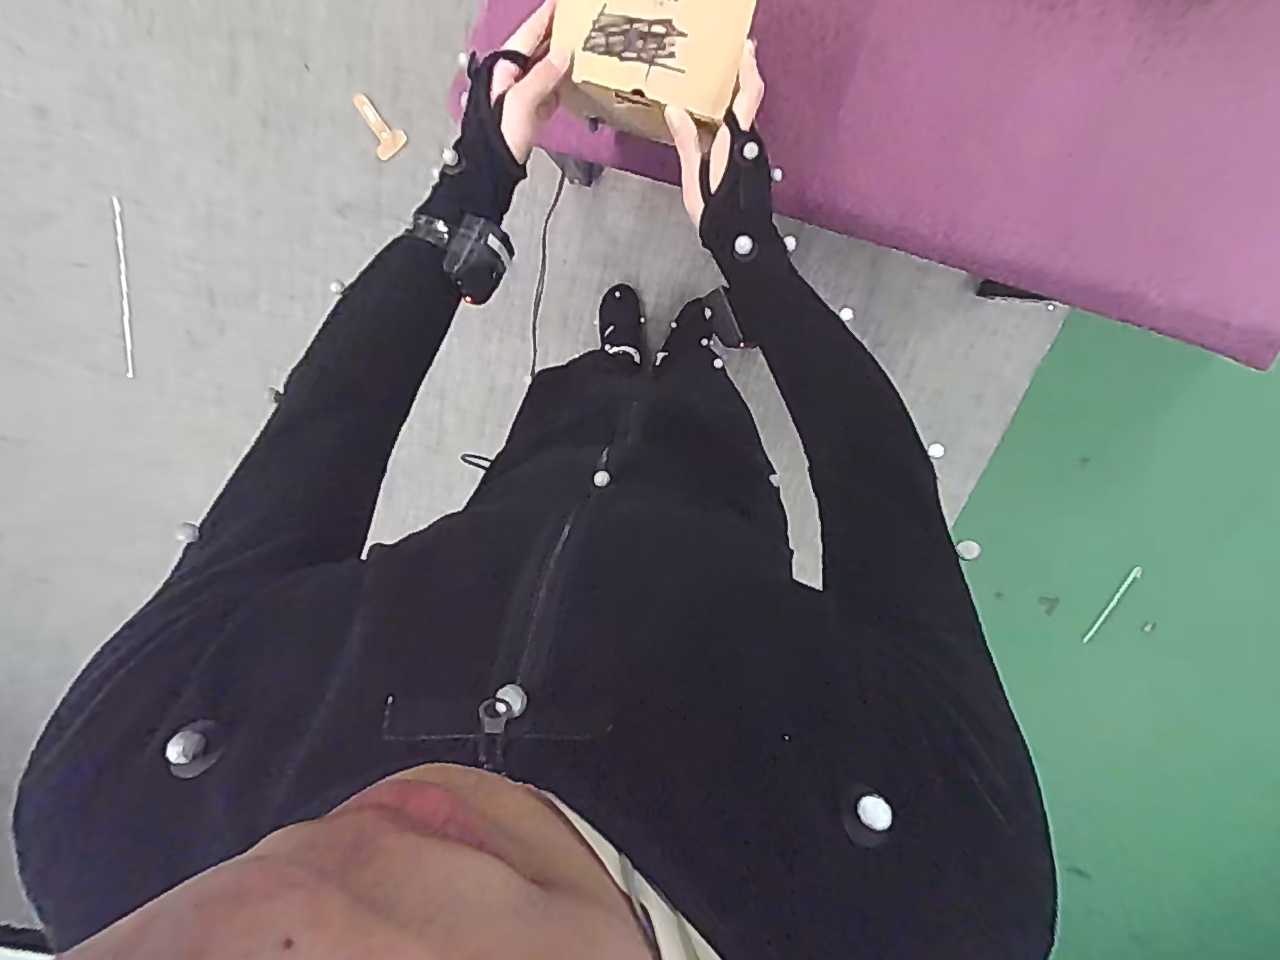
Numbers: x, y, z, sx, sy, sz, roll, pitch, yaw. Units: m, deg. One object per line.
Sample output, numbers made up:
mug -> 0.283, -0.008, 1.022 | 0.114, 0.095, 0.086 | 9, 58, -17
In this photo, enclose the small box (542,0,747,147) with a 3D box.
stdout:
small box -> 0.013, -0.451, 0.527 | 0.168, 0.176, 0.179 | 12, 112, -5
